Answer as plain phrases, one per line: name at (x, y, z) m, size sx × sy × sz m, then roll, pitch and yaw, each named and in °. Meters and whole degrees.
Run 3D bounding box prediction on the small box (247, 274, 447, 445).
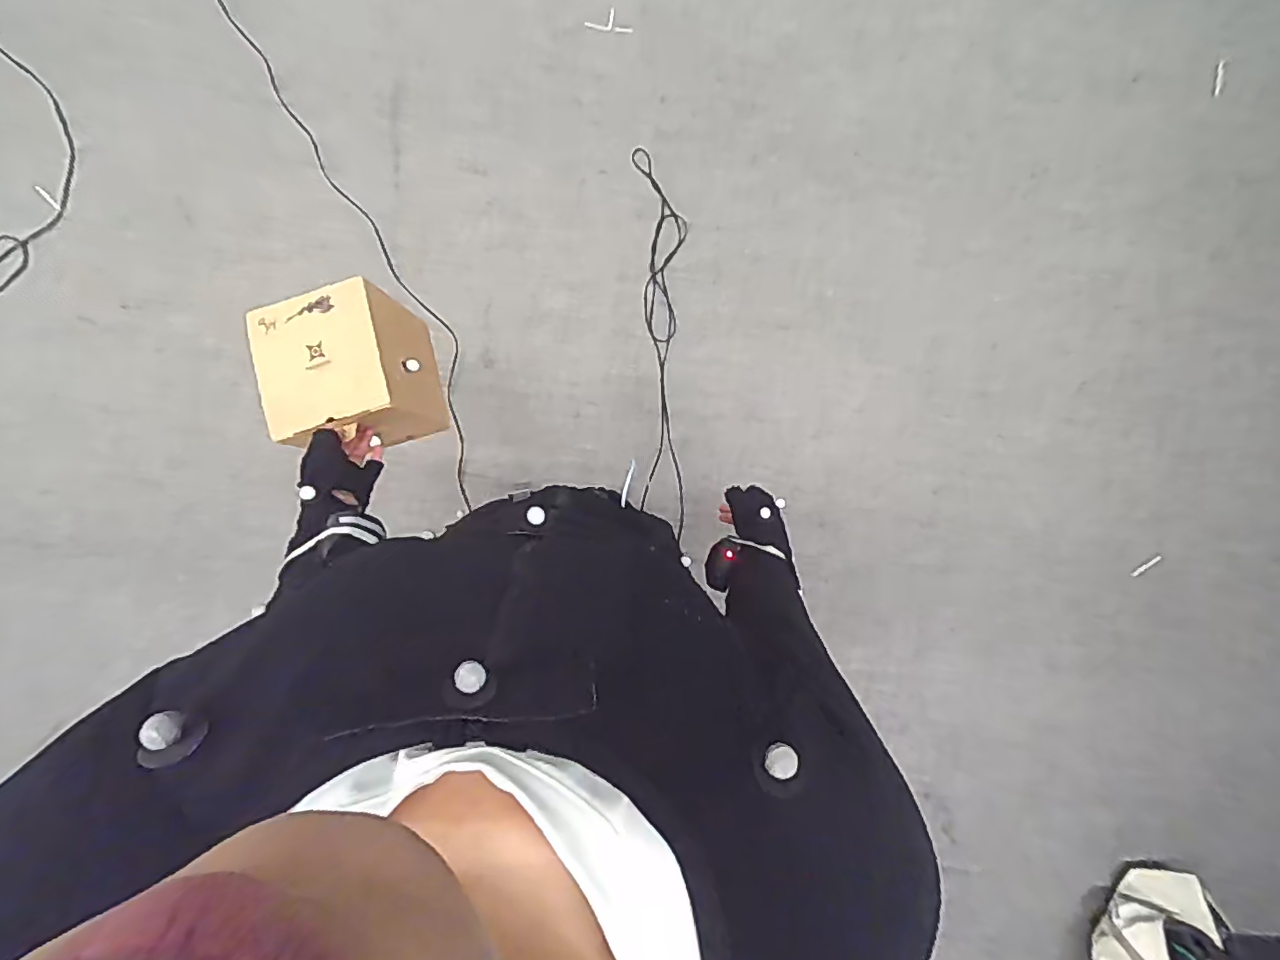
small box at (-0.394, -0.151, 0.755) m, size 0.168 × 0.176 × 0.179 m, roll -15°, pitch 86°, yaw 4°
